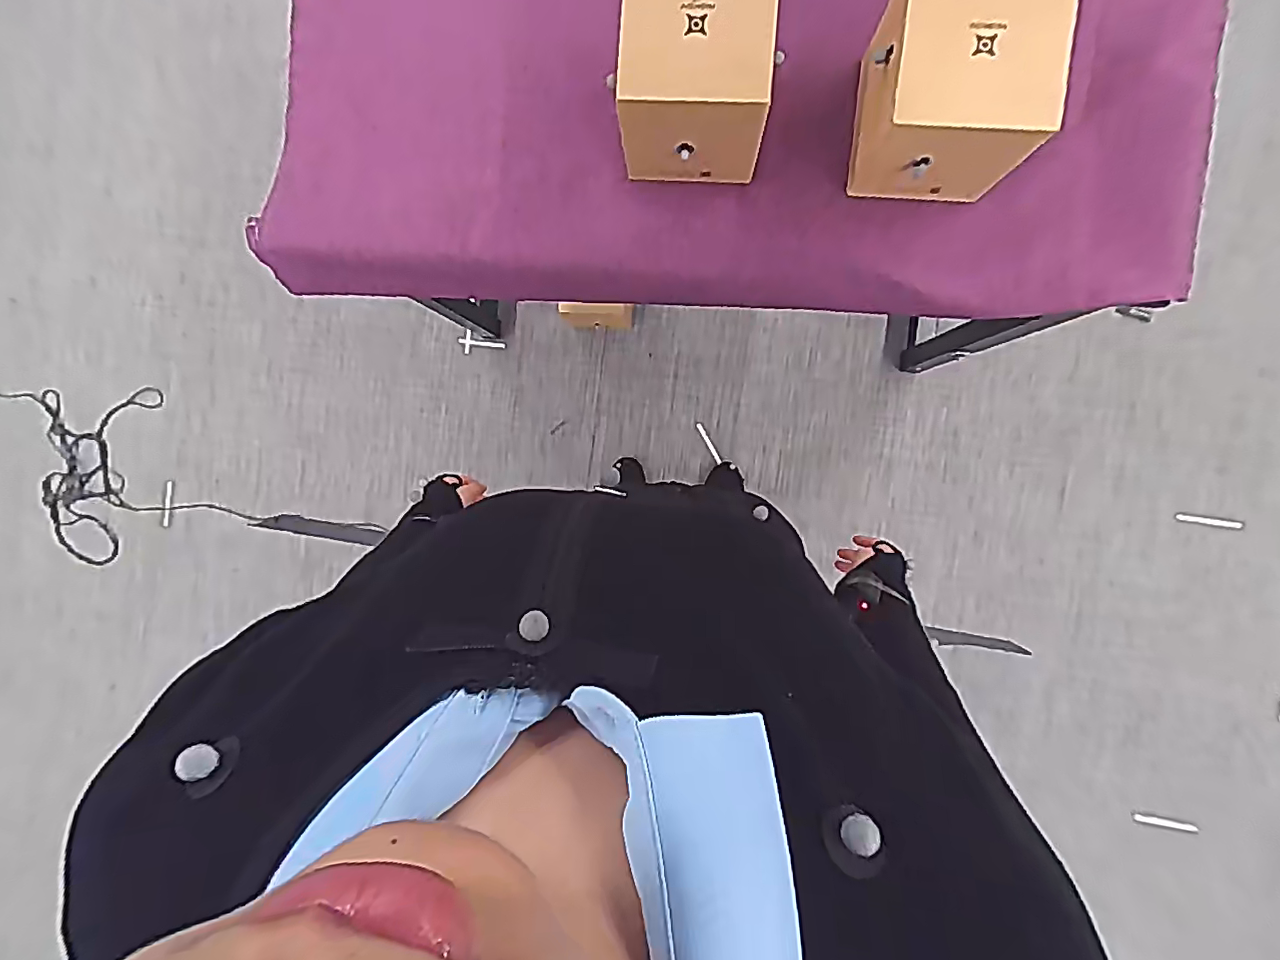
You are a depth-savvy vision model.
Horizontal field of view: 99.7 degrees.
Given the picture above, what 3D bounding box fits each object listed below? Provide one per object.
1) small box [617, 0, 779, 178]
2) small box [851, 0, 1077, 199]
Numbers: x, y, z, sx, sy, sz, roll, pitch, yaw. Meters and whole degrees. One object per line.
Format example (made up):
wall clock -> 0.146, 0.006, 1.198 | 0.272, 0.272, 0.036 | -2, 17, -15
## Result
small box -> 0.070, -0.492, 0.650 | 0.168, 0.176, 0.179 | 5, 92, 3
small box -> 0.358, -0.452, 0.629 | 0.168, 0.176, 0.179 | 6, 93, 5
